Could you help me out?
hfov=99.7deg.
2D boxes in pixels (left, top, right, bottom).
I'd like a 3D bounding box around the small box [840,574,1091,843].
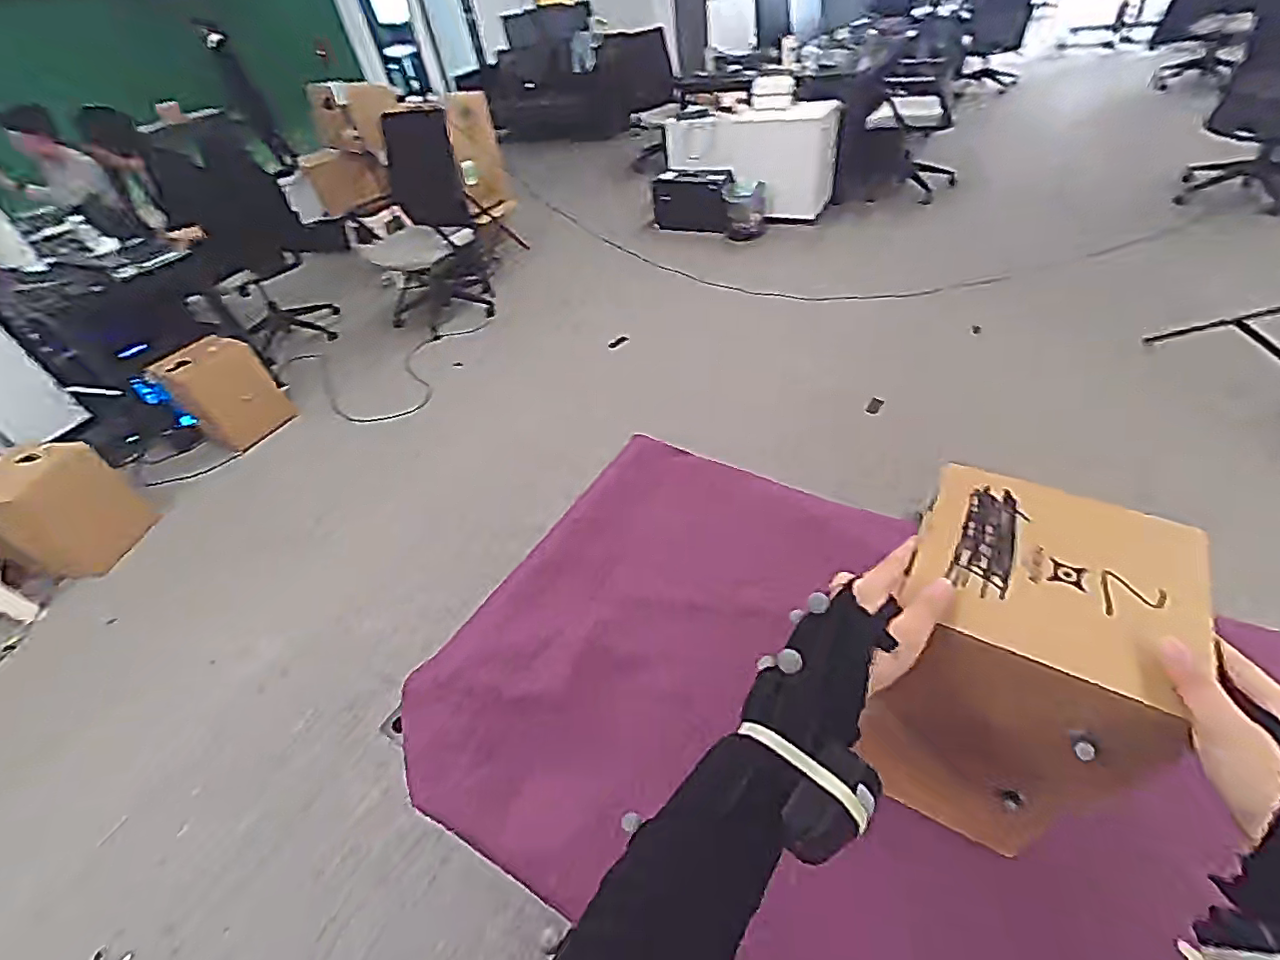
[{"bbox_3d":[0.320,0.233,0.557,0.179,0.176,0.168,18,50,27],"label":"small box"}]
